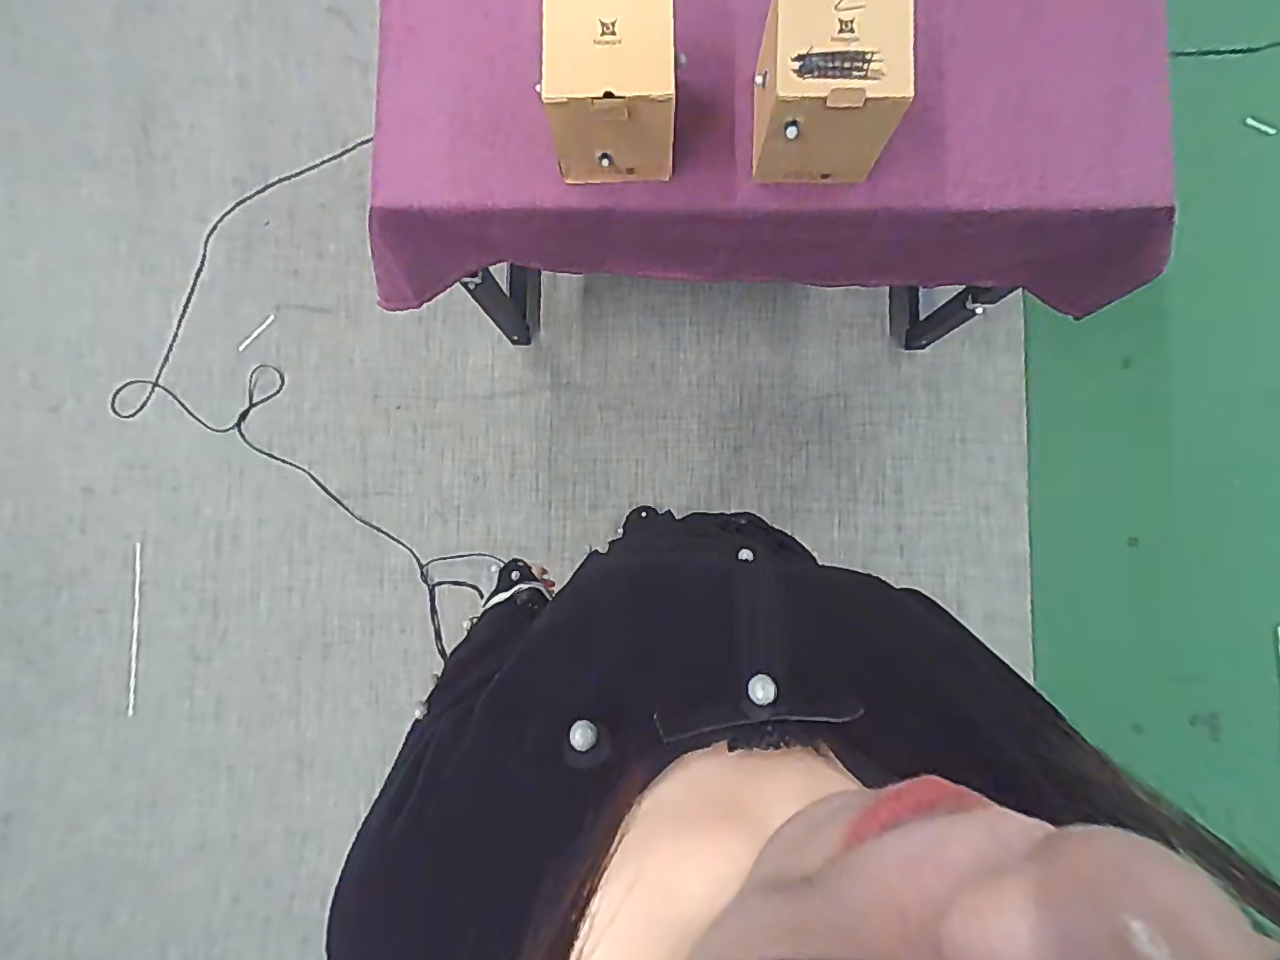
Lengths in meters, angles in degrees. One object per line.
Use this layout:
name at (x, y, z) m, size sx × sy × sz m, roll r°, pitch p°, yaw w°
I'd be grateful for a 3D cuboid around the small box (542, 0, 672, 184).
small box at (-0.041, -0.553, 0.766) m, size 0.168 × 0.176 × 0.179 m, roll -1°, pitch 87°, yaw 2°
